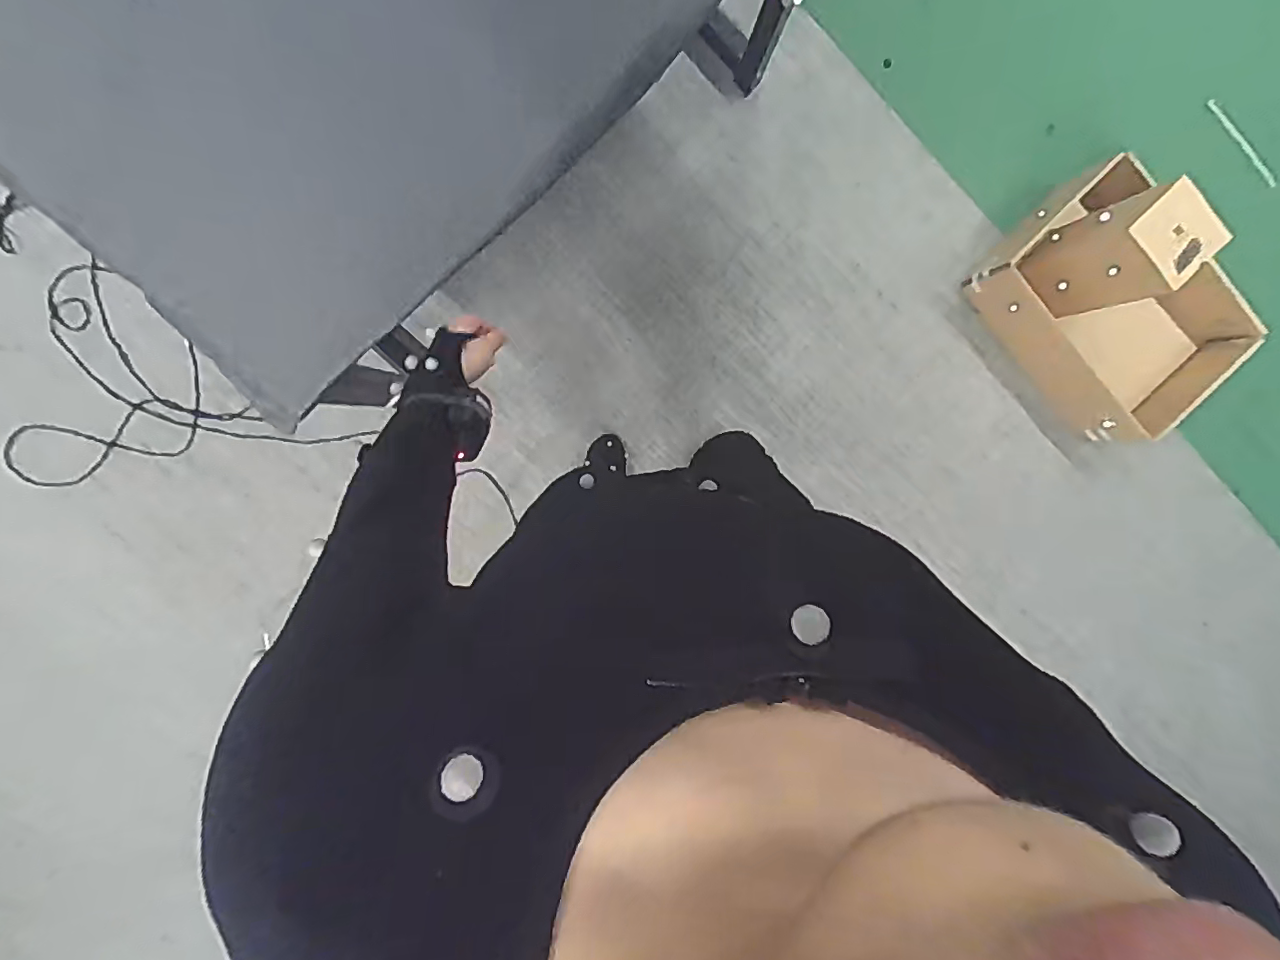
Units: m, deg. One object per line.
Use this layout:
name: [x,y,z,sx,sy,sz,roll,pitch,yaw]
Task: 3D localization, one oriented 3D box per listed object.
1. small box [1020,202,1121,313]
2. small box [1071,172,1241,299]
small box: [1.111,-0.543,1.349,0.179,0.176,0.168,44,93,-8]
small box: [1.119,-0.521,1.187,0.168,0.176,0.179,-44,97,2]
